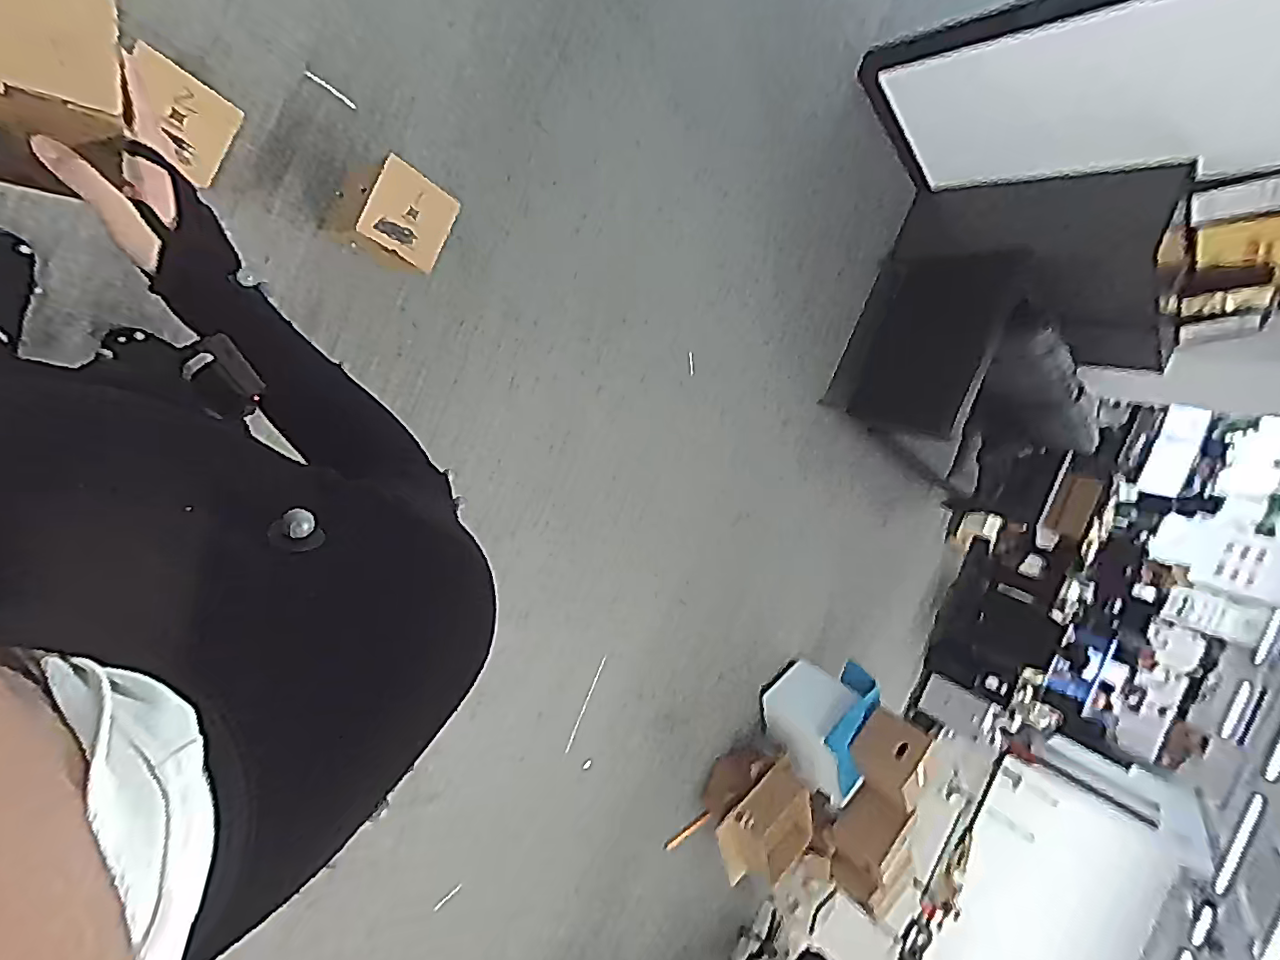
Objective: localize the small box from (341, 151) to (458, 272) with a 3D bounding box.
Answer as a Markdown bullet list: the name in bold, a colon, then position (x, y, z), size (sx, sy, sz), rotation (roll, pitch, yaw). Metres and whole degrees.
- **small box**: position (-0.540, -0.584, 1.203), size (0.168, 0.176, 0.179), rotation (25, 88, -43)

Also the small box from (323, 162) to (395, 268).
- **small box**: position (-0.643, -0.634, 1.320), size (0.179, 0.176, 0.168), rotation (23, 90, -44)

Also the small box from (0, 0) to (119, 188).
- **small box**: position (-0.510, -0.355, 0.405), size (0.168, 0.176, 0.179), rotation (-5, 92, -44)
